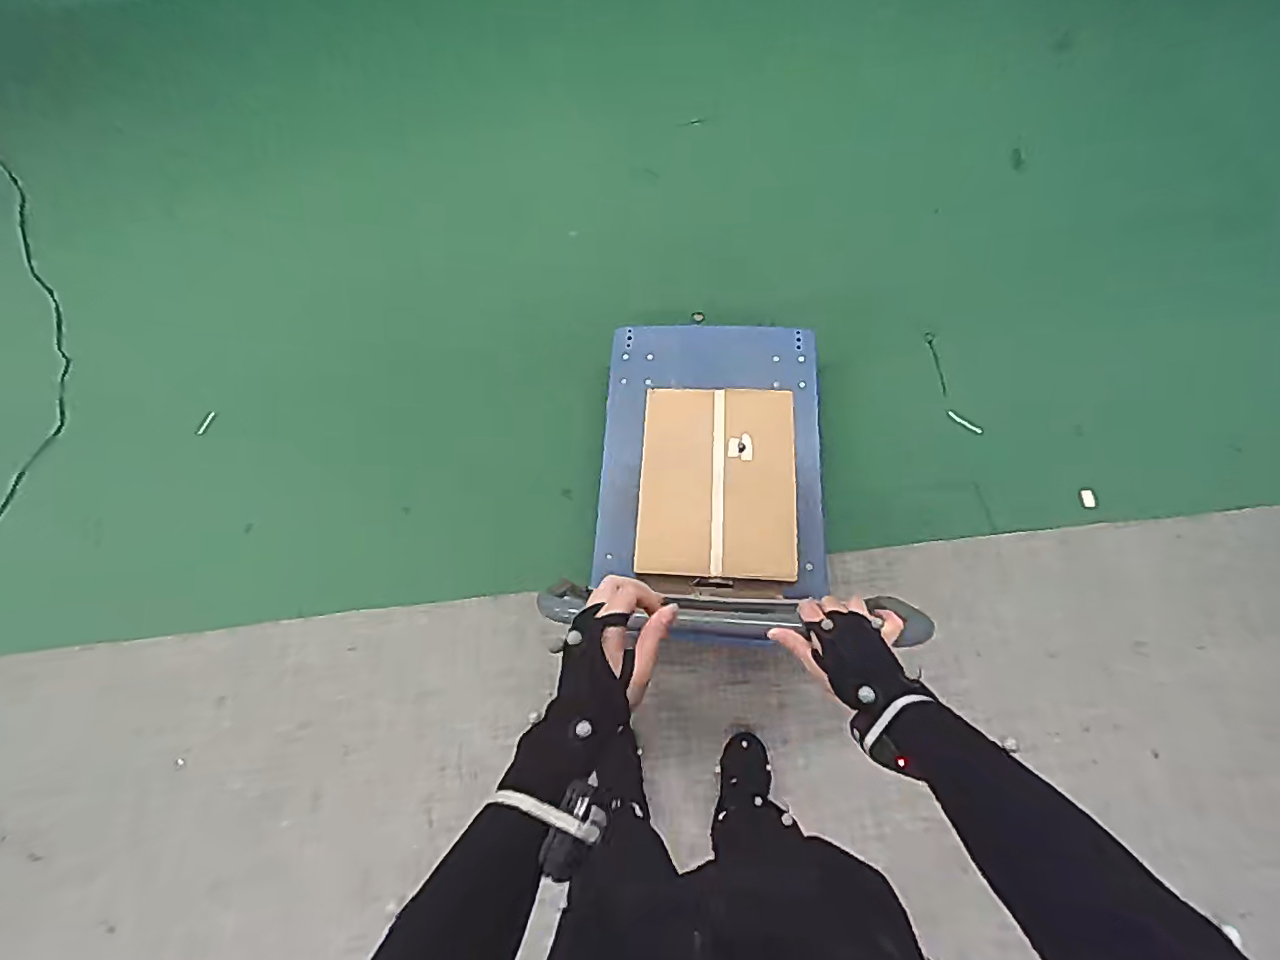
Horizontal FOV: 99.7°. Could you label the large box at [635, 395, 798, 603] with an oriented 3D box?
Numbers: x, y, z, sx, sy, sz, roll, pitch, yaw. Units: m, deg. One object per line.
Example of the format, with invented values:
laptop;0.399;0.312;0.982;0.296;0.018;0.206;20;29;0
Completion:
large box;0.166;0.057;1.232;0.320;0.320;0.408;2;70;5
